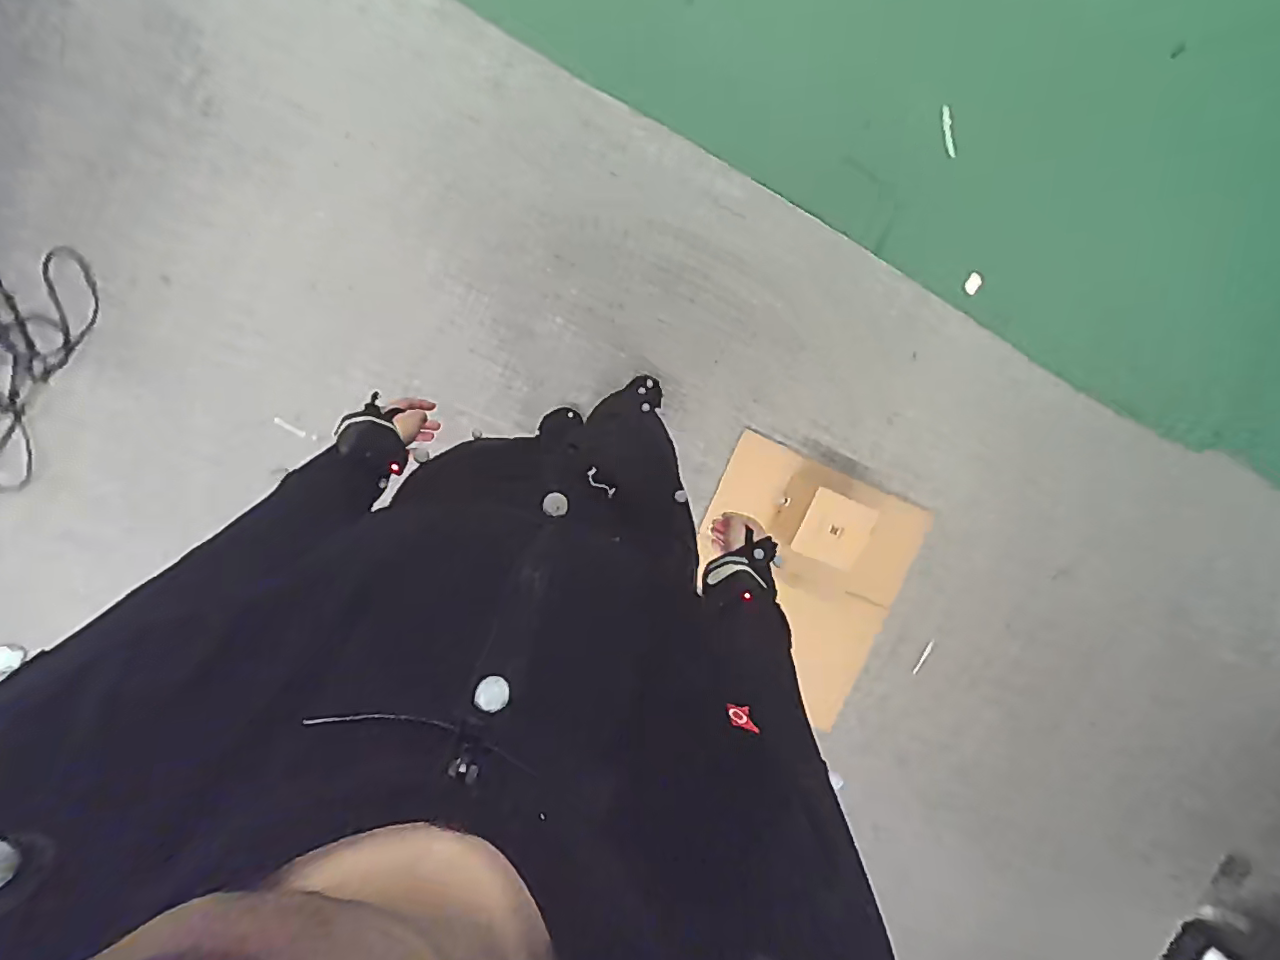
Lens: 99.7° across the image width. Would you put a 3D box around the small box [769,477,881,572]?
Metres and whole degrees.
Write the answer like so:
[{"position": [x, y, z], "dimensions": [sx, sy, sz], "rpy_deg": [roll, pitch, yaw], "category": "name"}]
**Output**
[{"position": [0.453, 0.104, 1.350], "dimensions": [0.179, 0.176, 0.168], "rpy_deg": [24, 95, -10], "category": "small box"}]
